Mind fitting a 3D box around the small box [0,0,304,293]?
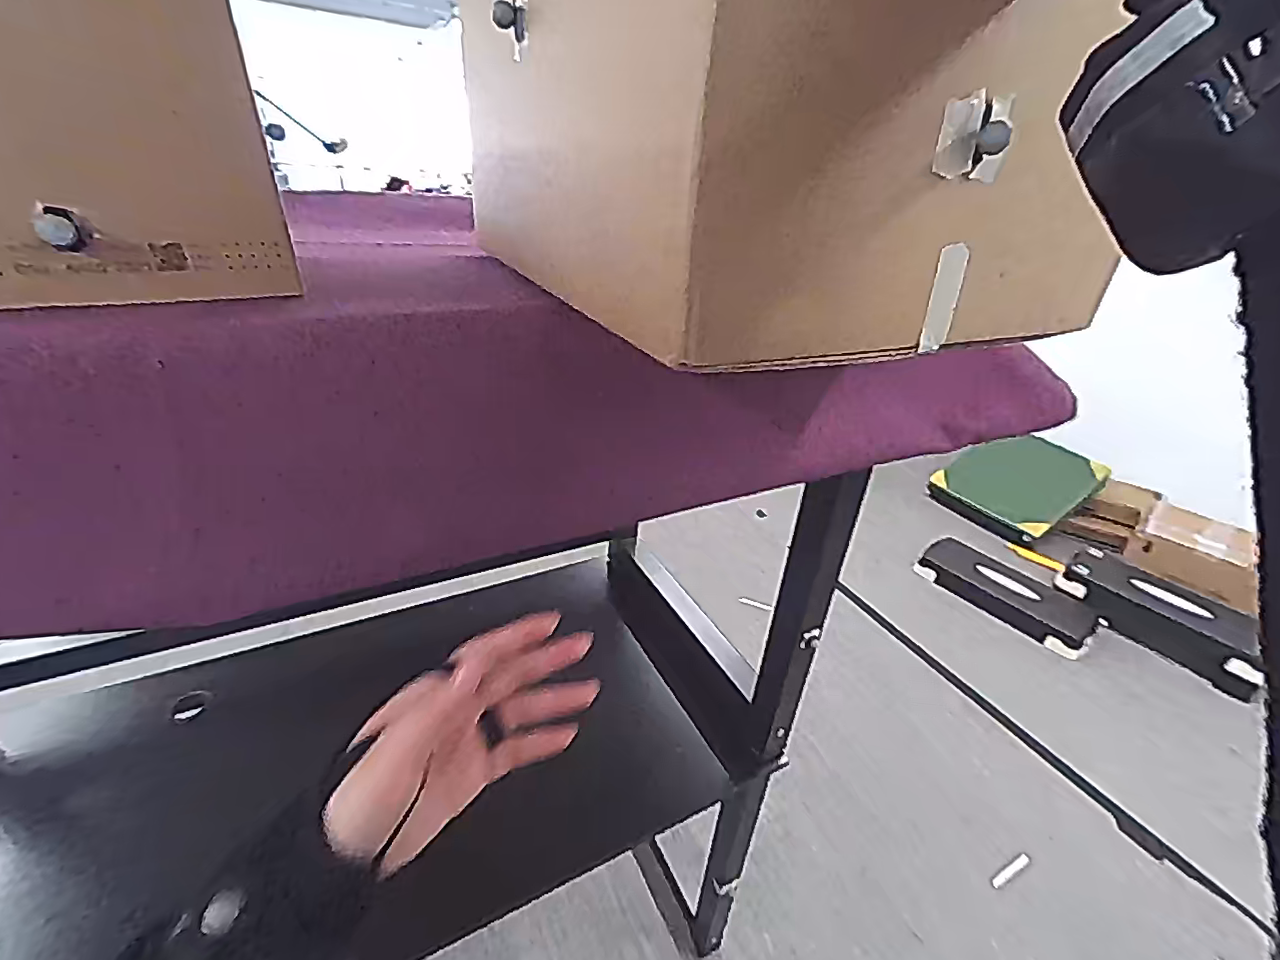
[{"bbox_3d":[-0.317,-0.213,0.322,0.168,0.176,0.179,-15,35,-28],"label":"small box"}]
